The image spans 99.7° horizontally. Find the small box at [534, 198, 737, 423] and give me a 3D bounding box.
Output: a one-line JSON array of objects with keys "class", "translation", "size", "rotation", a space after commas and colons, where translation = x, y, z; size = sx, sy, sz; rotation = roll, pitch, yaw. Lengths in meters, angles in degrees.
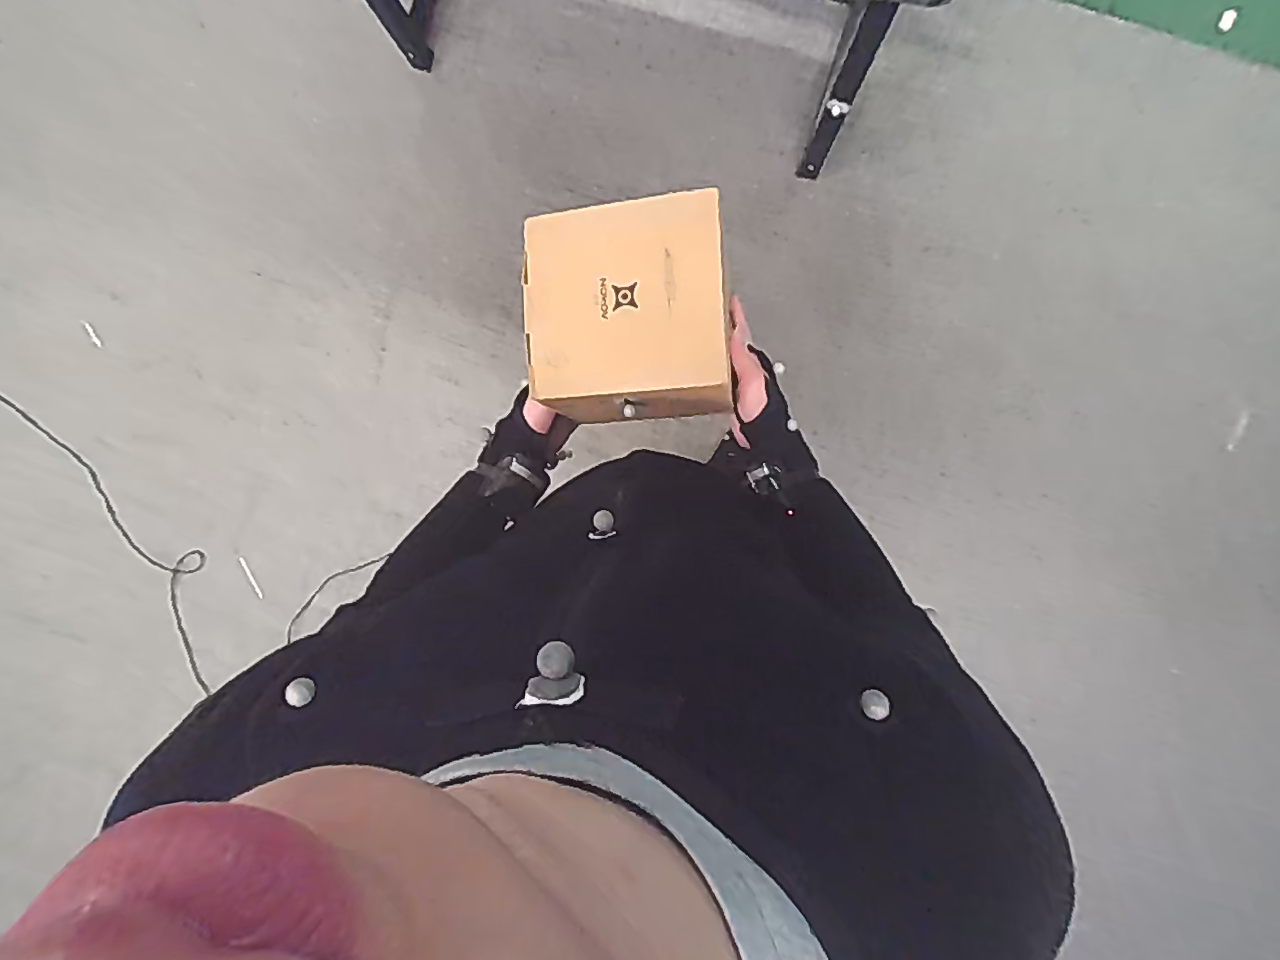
[{"class": "small box", "translation": [0.006, -0.153, 0.553], "size": [0.179, 0.176, 0.168], "rotation": [-3, 89, 11]}]
